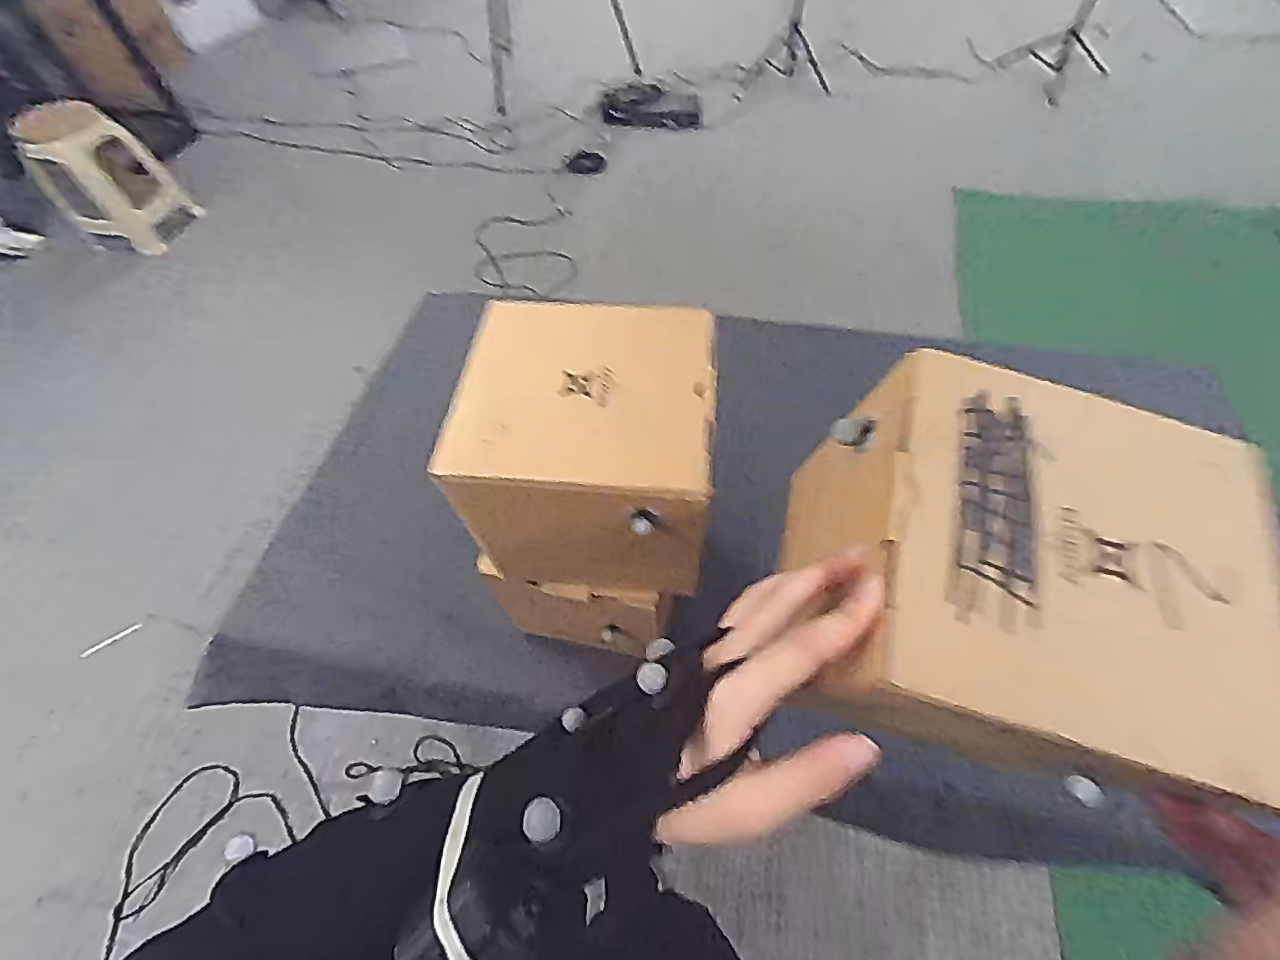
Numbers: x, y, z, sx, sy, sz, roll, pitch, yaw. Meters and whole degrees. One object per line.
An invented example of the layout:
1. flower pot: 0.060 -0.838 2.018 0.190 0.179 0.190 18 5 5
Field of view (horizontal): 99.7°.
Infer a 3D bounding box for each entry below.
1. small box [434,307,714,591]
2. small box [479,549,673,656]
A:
1. small box: -0.035 -0.019 0.442 0.179 0.176 0.168 3 57 4
2. small box: -0.044 0.071 0.577 0.168 0.176 0.179 9 57 8
